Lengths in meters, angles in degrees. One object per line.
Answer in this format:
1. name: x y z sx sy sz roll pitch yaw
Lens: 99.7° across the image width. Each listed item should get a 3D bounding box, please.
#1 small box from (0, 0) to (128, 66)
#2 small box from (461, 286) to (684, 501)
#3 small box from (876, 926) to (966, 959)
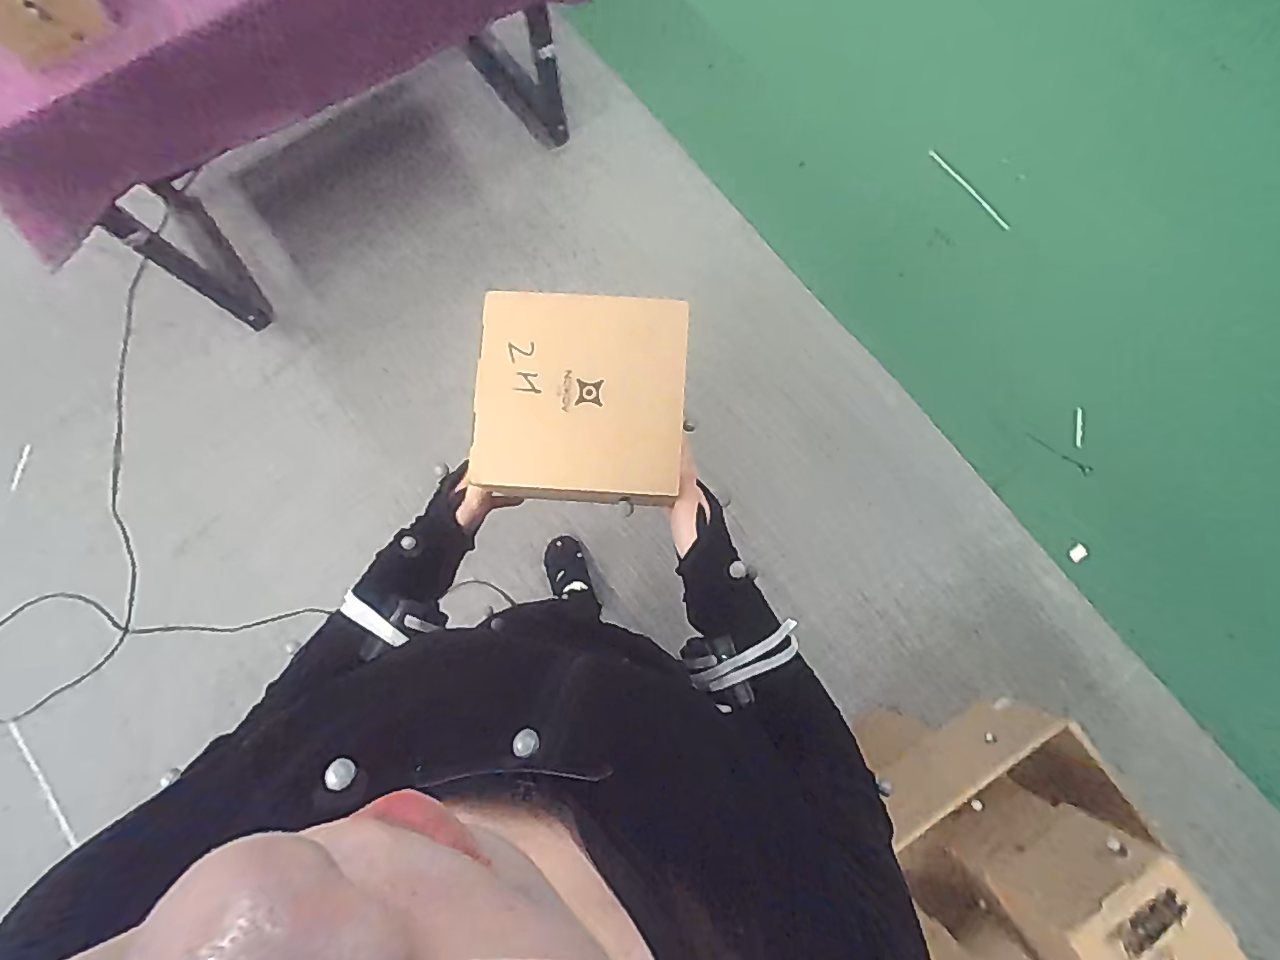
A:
1. small box: -1.056 -0.865 0.931 0.168 0.176 0.179 -35 81 -7
2. small box: -0.052 -0.070 0.528 0.179 0.176 0.168 4 84 3
3. small box: 0.399 0.734 0.682 0.168 0.176 0.179 -29 78 -6
